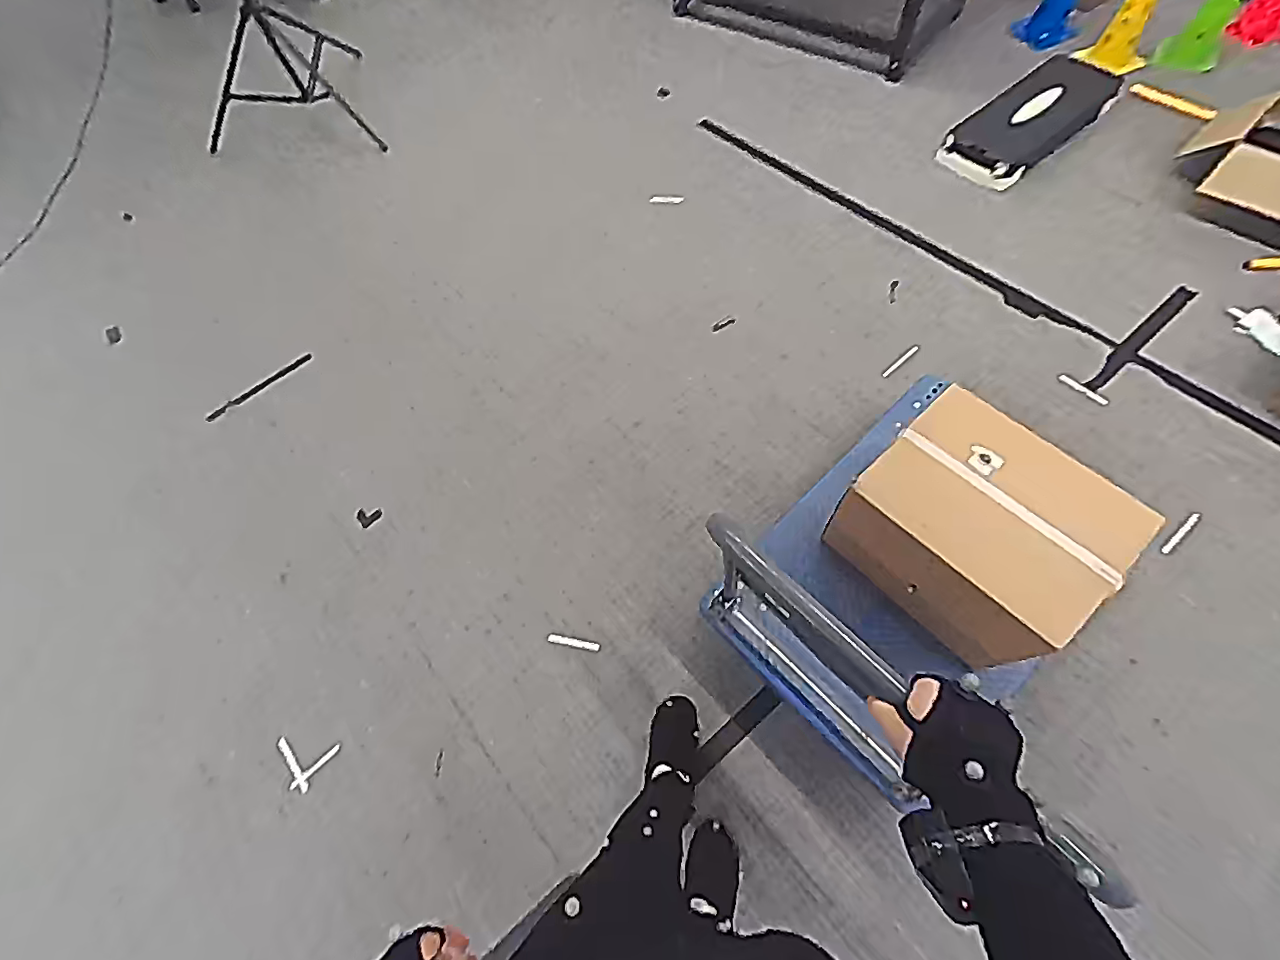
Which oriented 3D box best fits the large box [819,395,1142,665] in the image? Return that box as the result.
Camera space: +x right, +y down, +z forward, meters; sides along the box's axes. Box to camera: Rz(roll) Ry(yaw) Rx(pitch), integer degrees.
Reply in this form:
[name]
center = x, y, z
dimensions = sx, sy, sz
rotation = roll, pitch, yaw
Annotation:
[large box]
center = 0.644, 0.111, 1.107
dimensions = 0.320, 0.320, 0.408
rotation = -42, 66, -12
